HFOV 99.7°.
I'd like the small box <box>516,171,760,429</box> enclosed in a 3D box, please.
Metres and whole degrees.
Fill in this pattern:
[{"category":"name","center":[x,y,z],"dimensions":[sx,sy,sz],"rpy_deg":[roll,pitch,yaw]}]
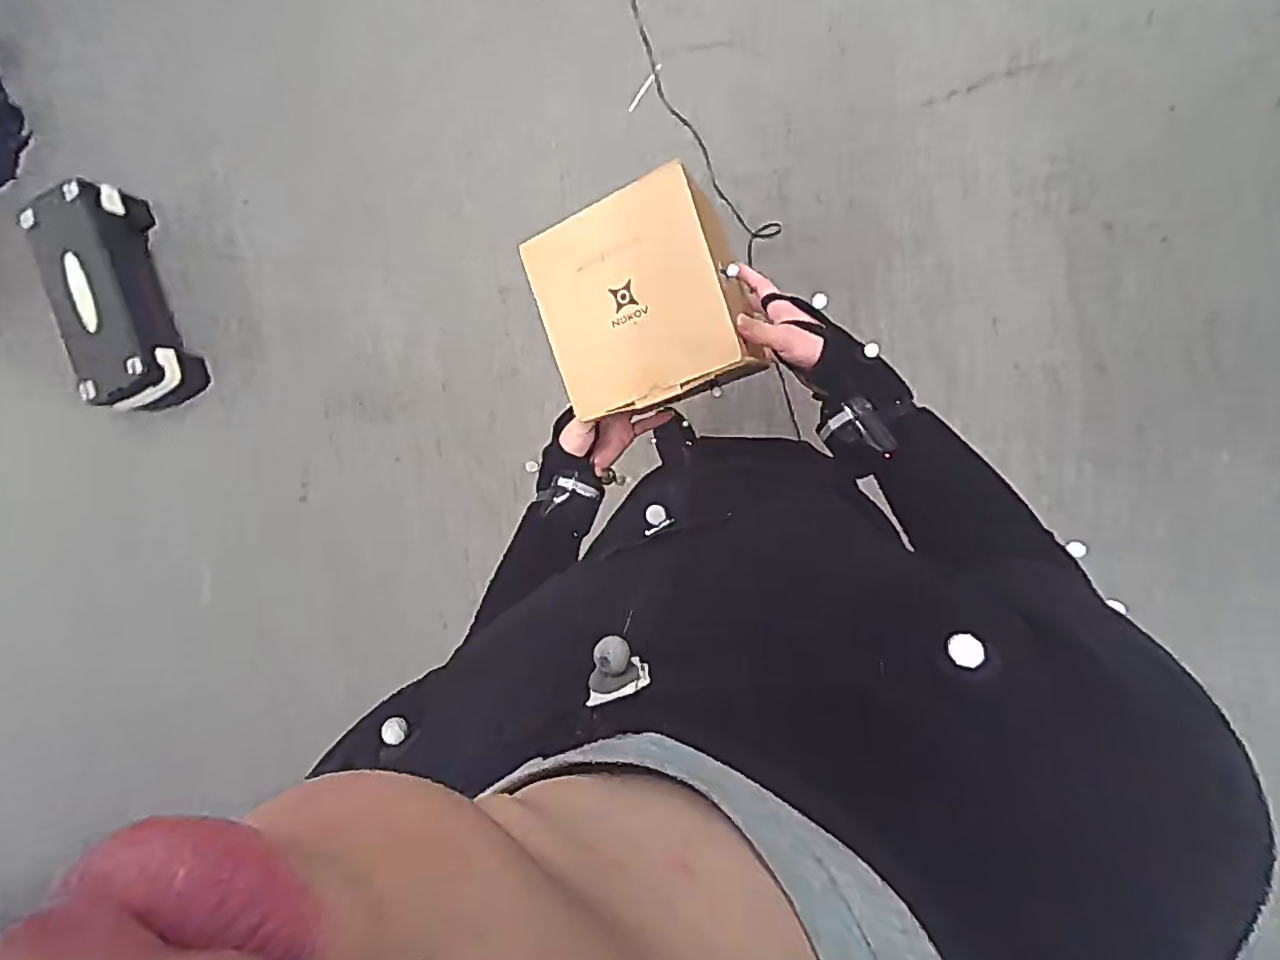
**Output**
[{"category":"small box","center":[0.011,-0.163,0.546],"dimensions":[0.168,0.176,0.179],"rpy_deg":[-17,92,23]}]
